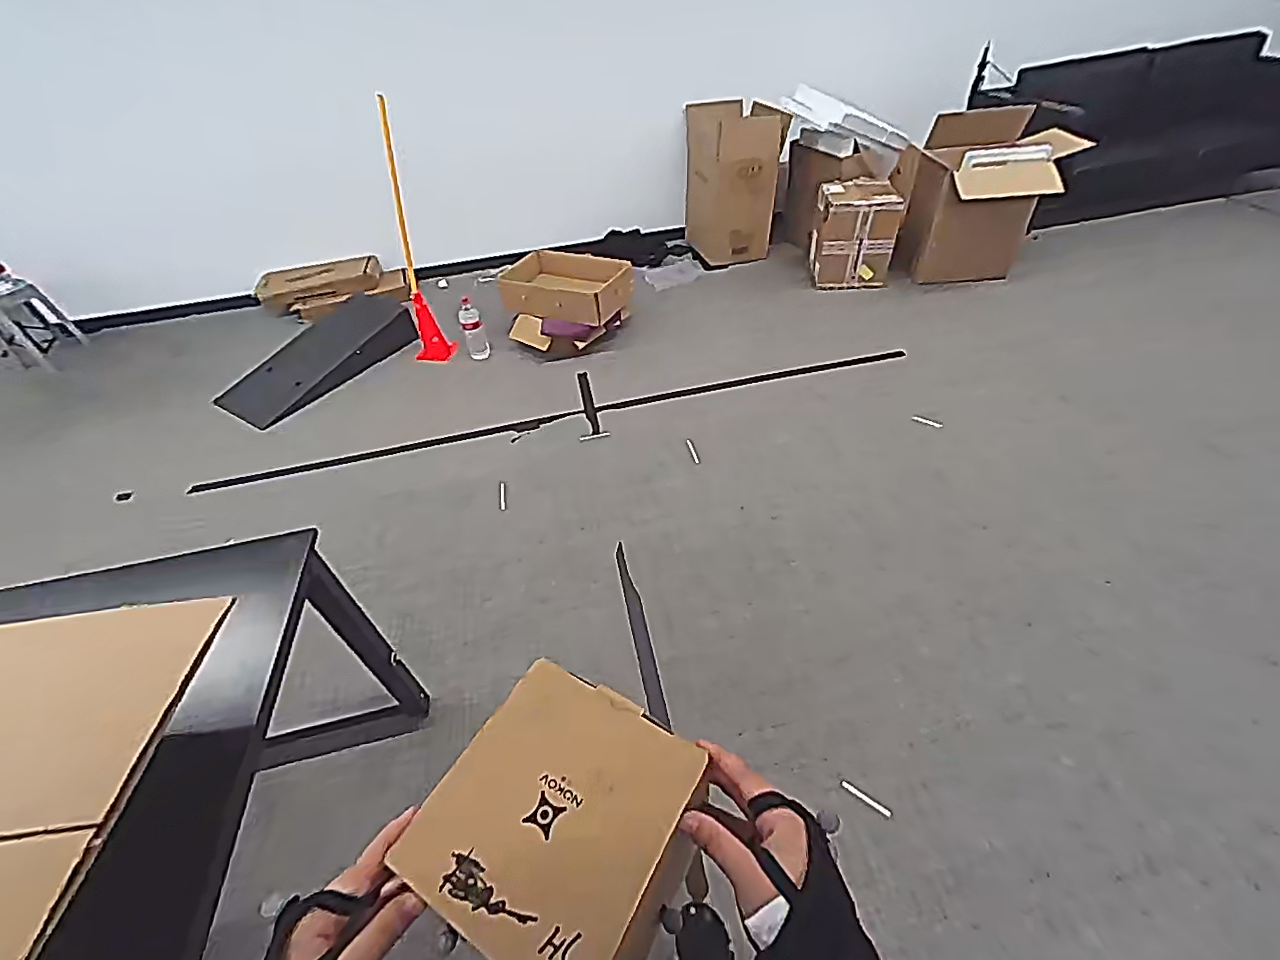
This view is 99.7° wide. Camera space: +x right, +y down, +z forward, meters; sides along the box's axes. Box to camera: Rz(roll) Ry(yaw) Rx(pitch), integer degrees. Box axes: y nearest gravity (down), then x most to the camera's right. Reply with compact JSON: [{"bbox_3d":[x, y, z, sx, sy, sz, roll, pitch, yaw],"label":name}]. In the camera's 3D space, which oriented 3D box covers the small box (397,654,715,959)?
[{"bbox_3d":[-0.052,0.287,0.442,0.168,0.176,0.179,19,47,27],"label":"small box"}]
